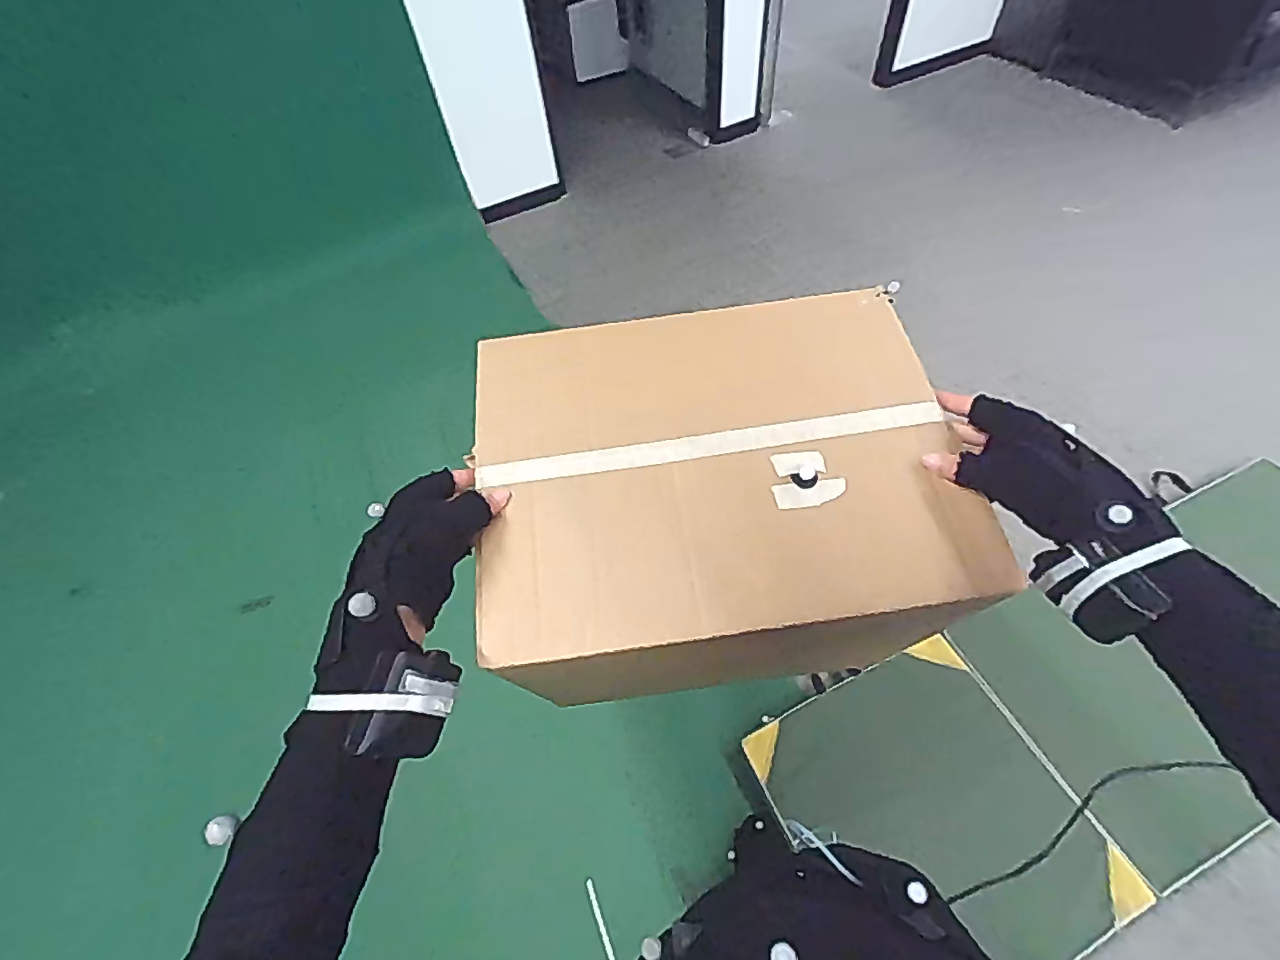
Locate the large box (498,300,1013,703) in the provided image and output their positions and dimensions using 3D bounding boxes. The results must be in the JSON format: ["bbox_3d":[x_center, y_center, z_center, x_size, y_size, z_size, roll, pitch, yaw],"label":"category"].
[{"bbox_3d":[0.078,0.044,0.610,0.408,0.320,0.320,-8,63,-2],"label":"large box"}]
